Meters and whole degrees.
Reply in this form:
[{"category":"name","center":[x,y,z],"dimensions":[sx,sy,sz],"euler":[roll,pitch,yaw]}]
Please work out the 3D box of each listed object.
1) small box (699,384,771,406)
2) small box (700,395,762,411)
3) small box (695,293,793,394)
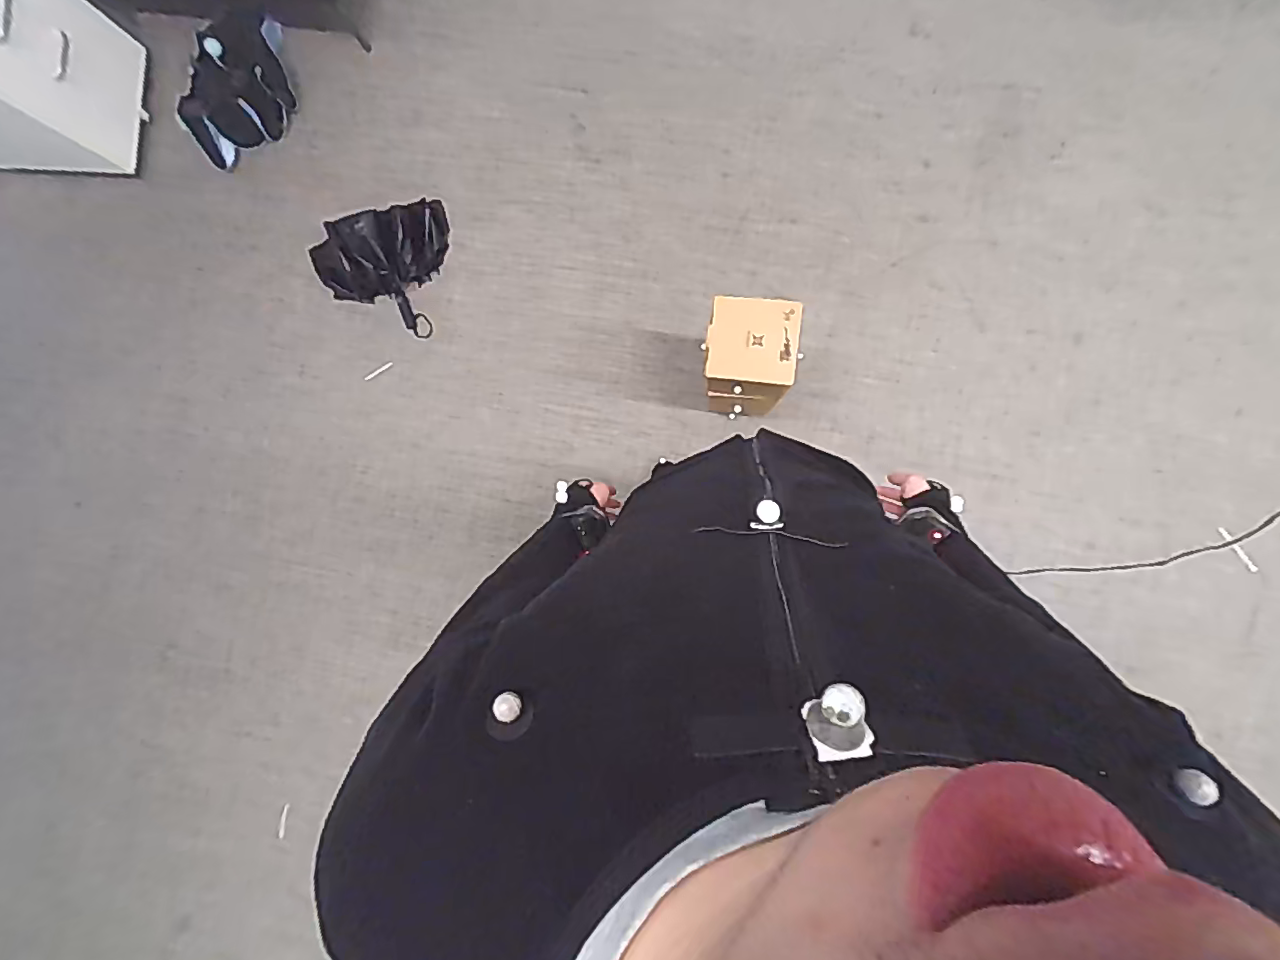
[{"category":"small box","center":[0.233,-0.284,1.312],"dimensions":[0.168,0.176,0.179],"euler":[6,91,6]},{"category":"small box","center":[0.253,-0.290,1.475],"dimensions":[0.168,0.176,0.179],"euler":[6,92,7]},{"category":"small box","center":[0.215,-0.283,1.150],"dimensions":[0.179,0.176,0.168],"euler":[7,91,7]}]
